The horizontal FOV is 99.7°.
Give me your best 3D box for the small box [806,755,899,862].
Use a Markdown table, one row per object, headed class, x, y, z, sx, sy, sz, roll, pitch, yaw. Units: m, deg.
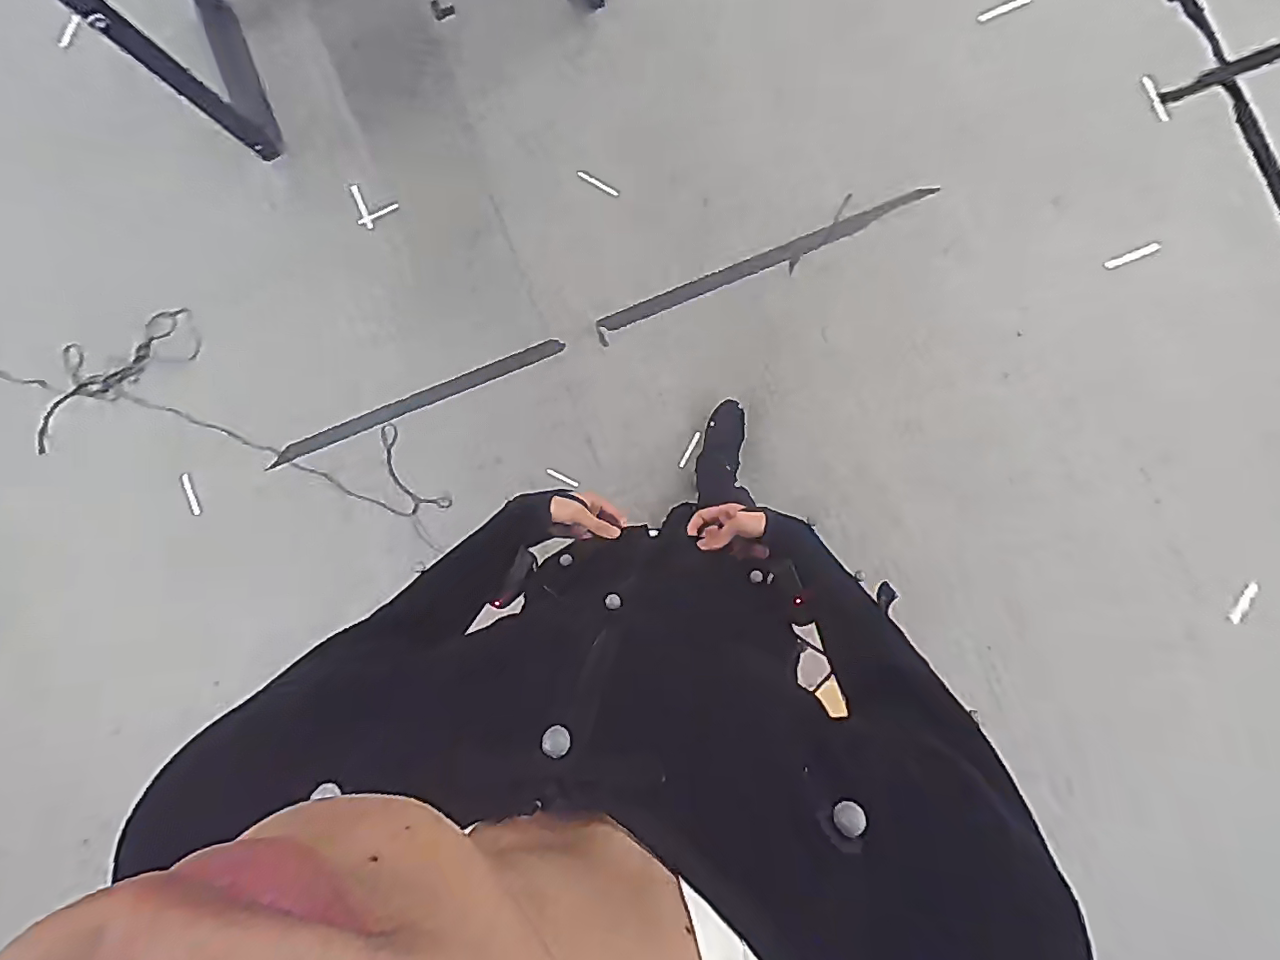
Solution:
| class | x | y | z | sx | sy | sz | roll | pitch | yaw |
| --- | --- | --- | --- | --- | --- | --- | --- | --- | --- |
| small box | 0.575 | 0.903 | 1.499 | 0.179 | 0.176 | 0.168 | -20 | 89 | 3 |
